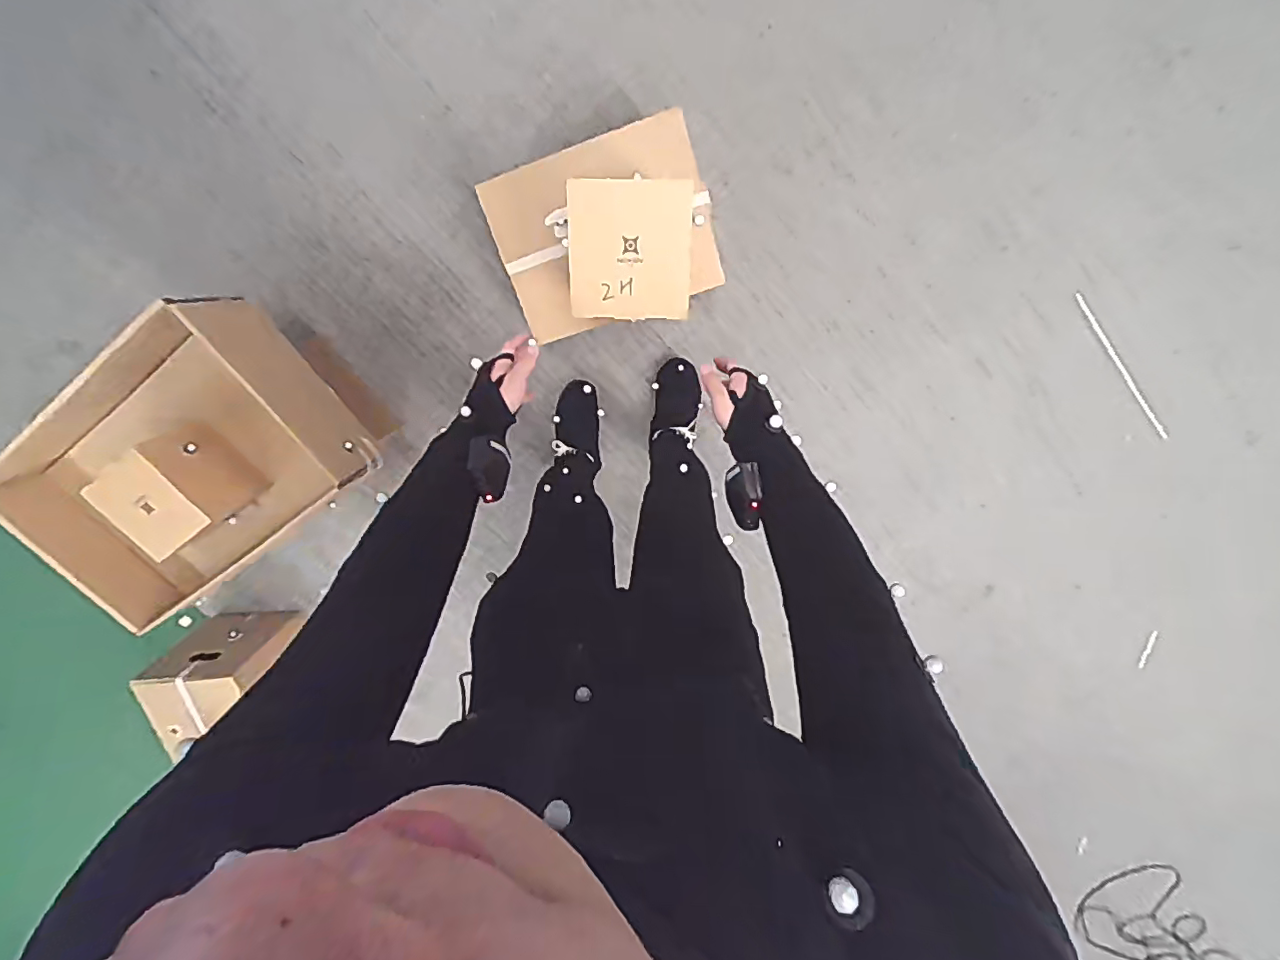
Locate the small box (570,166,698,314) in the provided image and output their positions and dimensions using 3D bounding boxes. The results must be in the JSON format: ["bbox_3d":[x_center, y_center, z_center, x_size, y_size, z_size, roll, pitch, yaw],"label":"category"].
[{"bbox_3d":[-0.009,-0.342,0.784,0.168,0.176,0.179,2,114,2],"label":"small box"}]

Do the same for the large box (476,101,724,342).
[{"bbox_3d":[-0.064,-0.528,1.154,0.408,0.320,0.320,-16,110,9],"label":"large box"}]
